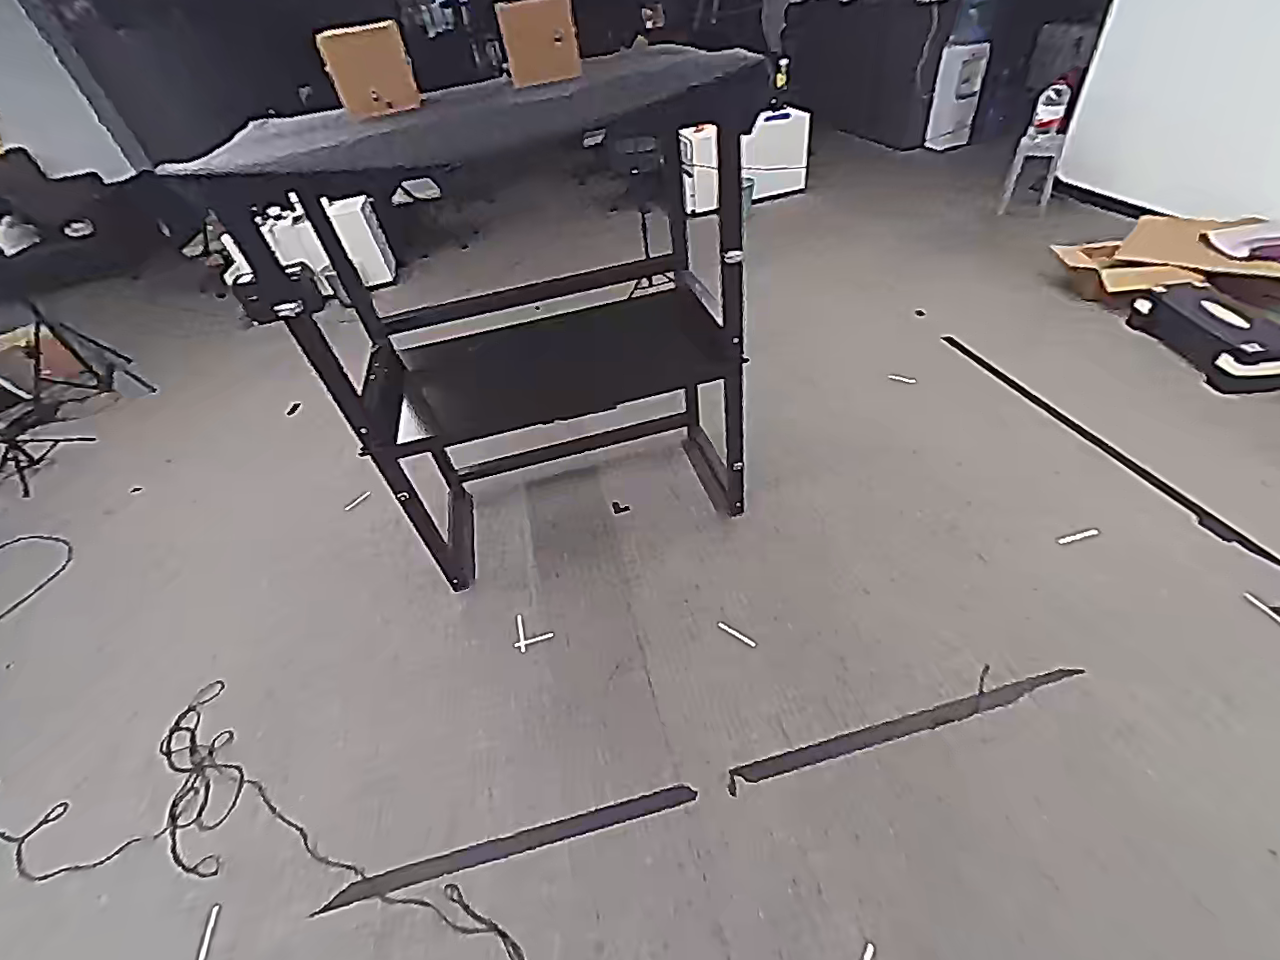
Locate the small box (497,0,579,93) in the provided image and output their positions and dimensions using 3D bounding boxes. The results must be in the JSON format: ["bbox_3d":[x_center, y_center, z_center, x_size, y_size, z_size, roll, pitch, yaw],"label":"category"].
[{"bbox_3d":[-0.258,-1.121,1.390,0.179,0.176,0.168,-13,42,-4],"label":"small box"}]
